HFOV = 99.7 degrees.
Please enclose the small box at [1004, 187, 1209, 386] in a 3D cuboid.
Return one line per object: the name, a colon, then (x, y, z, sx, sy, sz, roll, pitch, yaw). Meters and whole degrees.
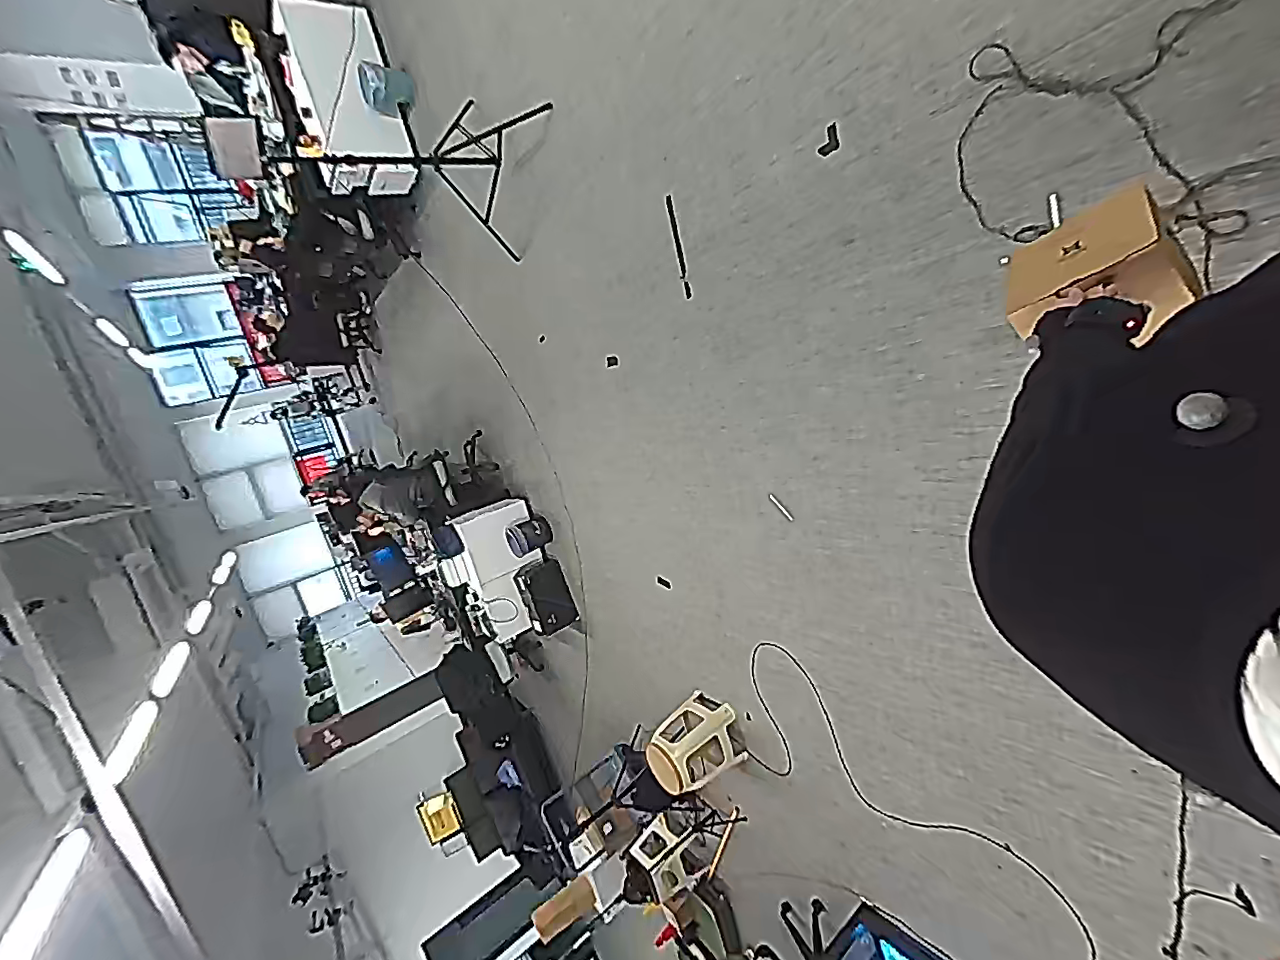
small box: (0.642, -0.255, 0.755, 0.176, 0.179, 0.168, 42, 144, -16)
